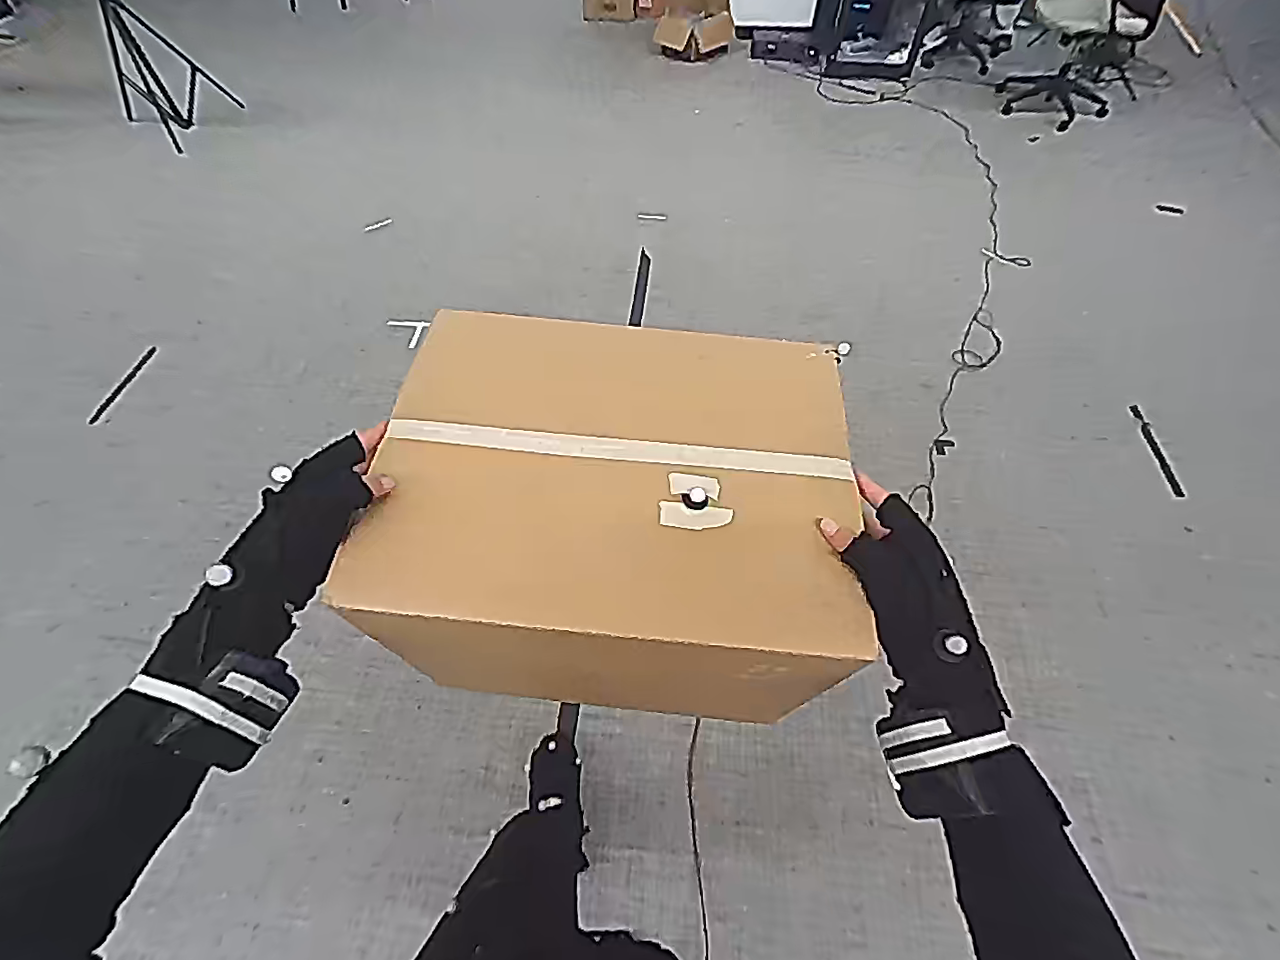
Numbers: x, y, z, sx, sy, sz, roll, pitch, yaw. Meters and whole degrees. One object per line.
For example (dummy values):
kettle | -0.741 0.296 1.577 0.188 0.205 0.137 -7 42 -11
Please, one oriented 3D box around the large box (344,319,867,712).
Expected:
large box | -0.024 0.057 0.606 0.408 0.320 0.320 6 59 0
